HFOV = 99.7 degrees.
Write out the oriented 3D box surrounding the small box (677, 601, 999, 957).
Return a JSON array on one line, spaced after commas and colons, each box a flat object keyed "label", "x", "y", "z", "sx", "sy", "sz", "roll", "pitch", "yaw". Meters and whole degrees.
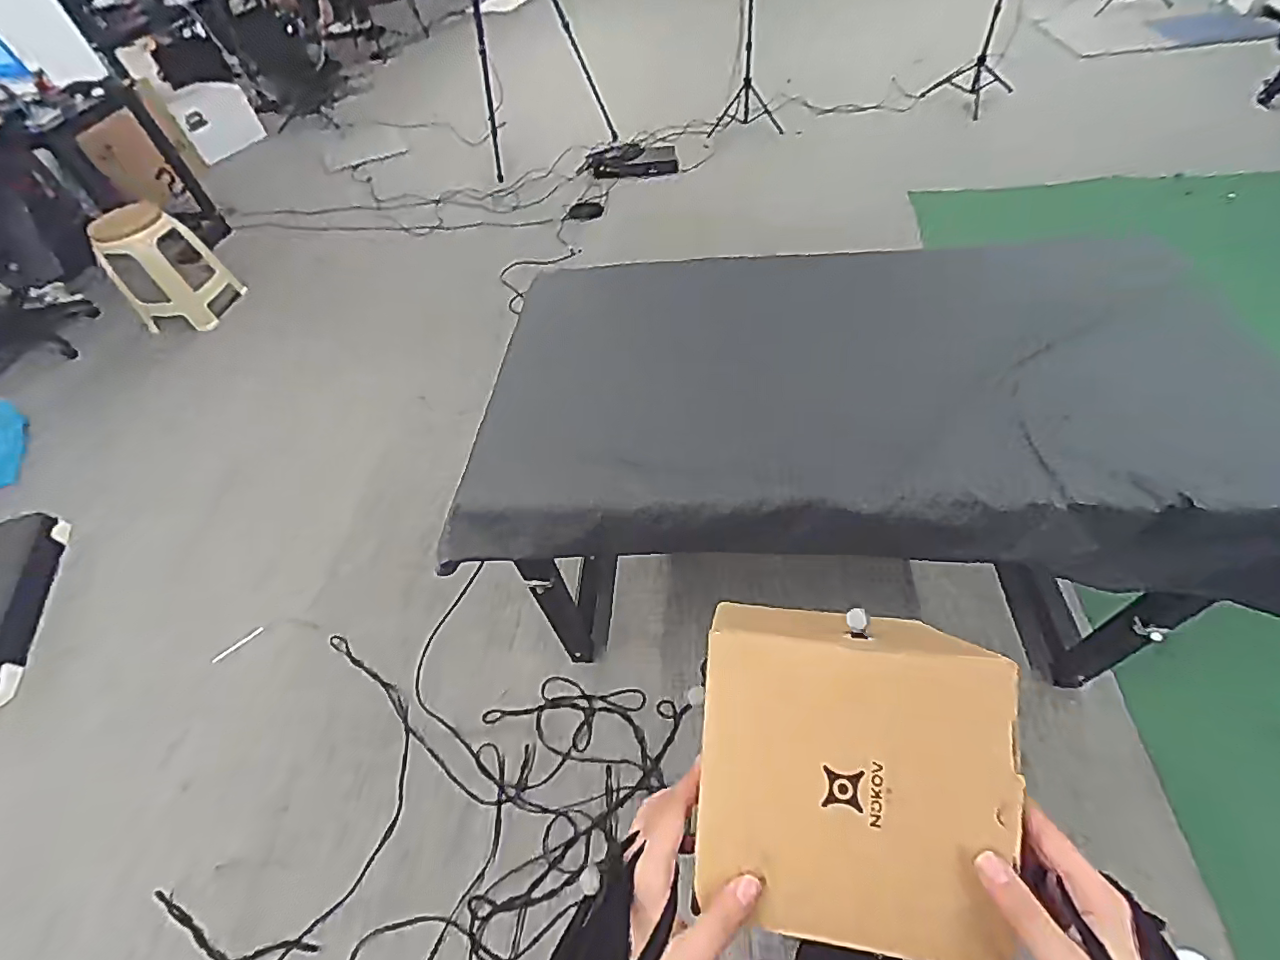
[{"label": "small box", "x": 0.127, "y": 0.182, "z": 0.393, "sx": 0.179, "sy": 0.176, "sz": 0.168, "roll": 3, "pitch": 83, "yaw": 10}]
